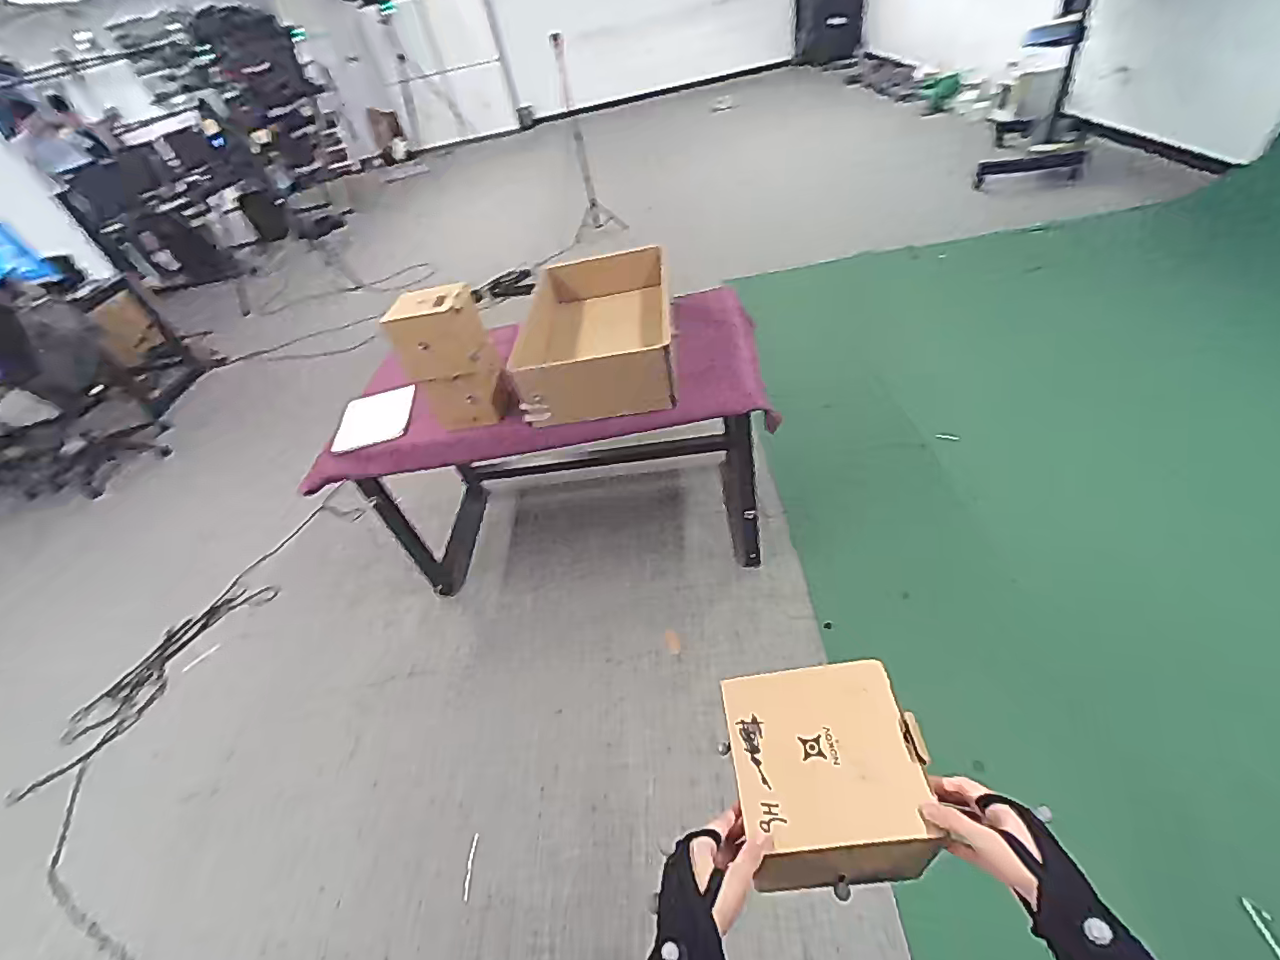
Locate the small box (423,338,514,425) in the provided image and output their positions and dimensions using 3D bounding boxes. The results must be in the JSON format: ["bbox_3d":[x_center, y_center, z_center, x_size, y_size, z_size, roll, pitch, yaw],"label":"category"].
[{"bbox_3d":[-0.460,-0.264,1.484,0.168,0.176,0.179,-6,42,8],"label":"small box"}]

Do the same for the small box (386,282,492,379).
[{"bbox_3d":[-0.496,-0.374,1.368,0.179,0.176,0.168,-6,42,8],"label":"small box"}]

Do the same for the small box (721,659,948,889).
[{"bbox_3d":[0.188,0.316,0.579,0.179,0.176,0.168,-9,42,5],"label":"small box"}]
